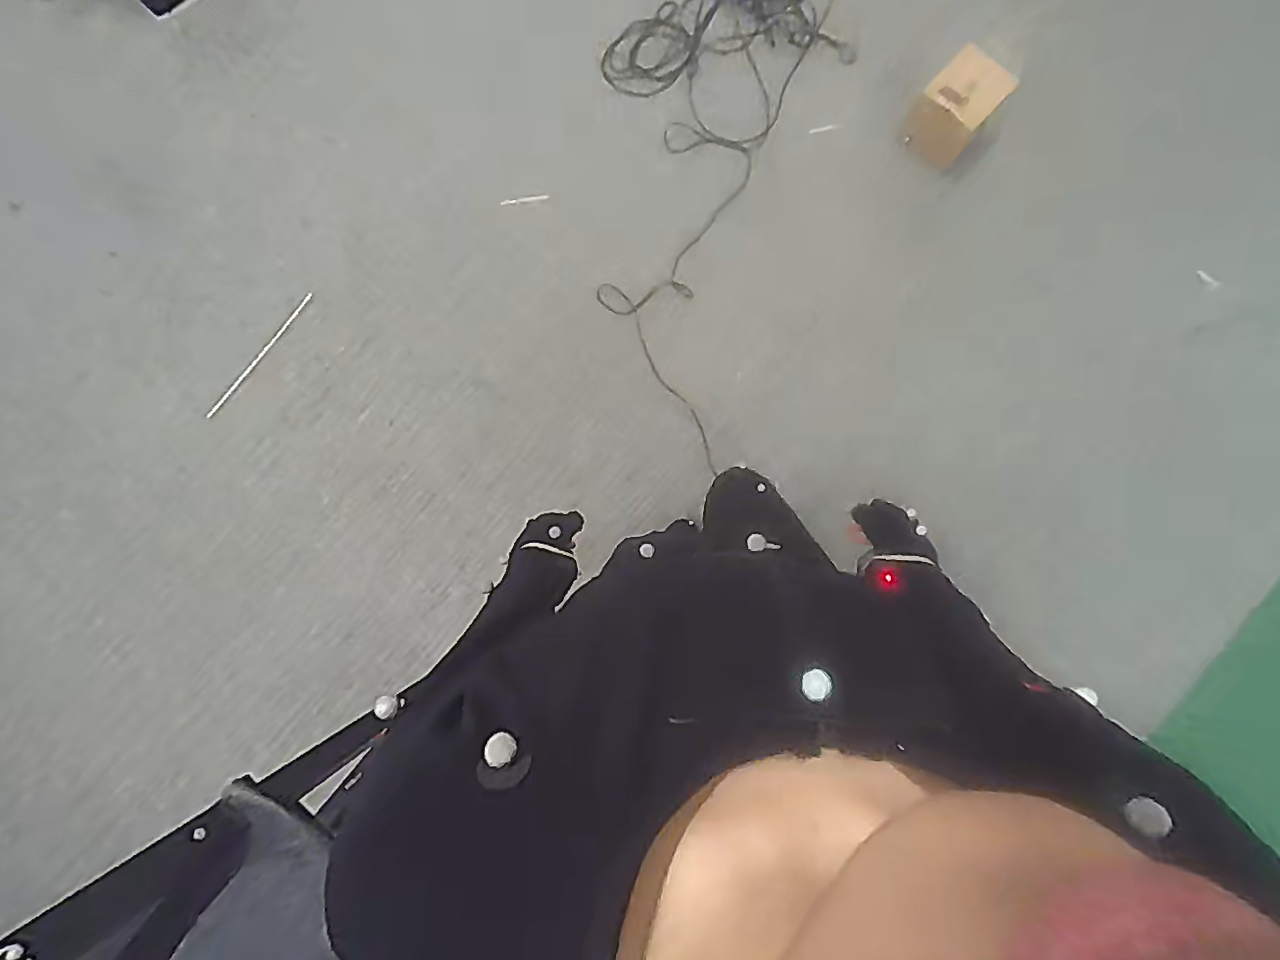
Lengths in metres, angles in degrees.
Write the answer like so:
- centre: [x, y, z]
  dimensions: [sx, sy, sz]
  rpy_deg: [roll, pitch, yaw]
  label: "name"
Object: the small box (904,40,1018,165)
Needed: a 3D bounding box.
- centre: [0.834, -0.989, 1.434]
  dimensions: [0.168, 0.176, 0.179]
  rpy_deg: [43, 89, 5]
  label: "small box"
